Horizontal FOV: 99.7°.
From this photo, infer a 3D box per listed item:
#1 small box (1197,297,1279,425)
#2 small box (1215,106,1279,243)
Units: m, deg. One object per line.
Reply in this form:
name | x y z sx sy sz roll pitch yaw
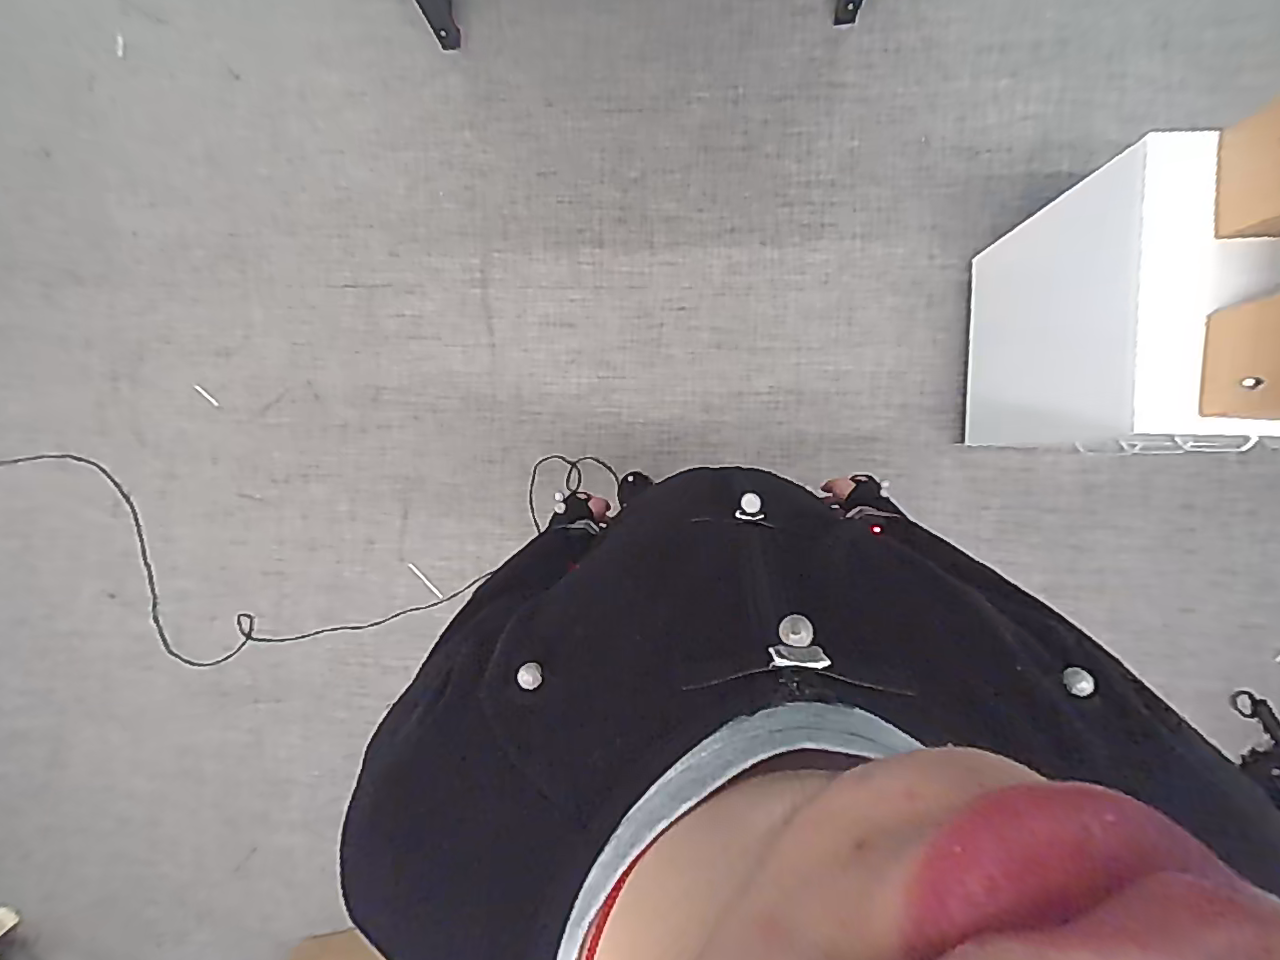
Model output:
small box | 1.012 -0.178 0.822 0.168 0.176 0.179 3 90 3
small box | 1.029 -0.476 0.809 0.168 0.176 0.179 0 94 4
